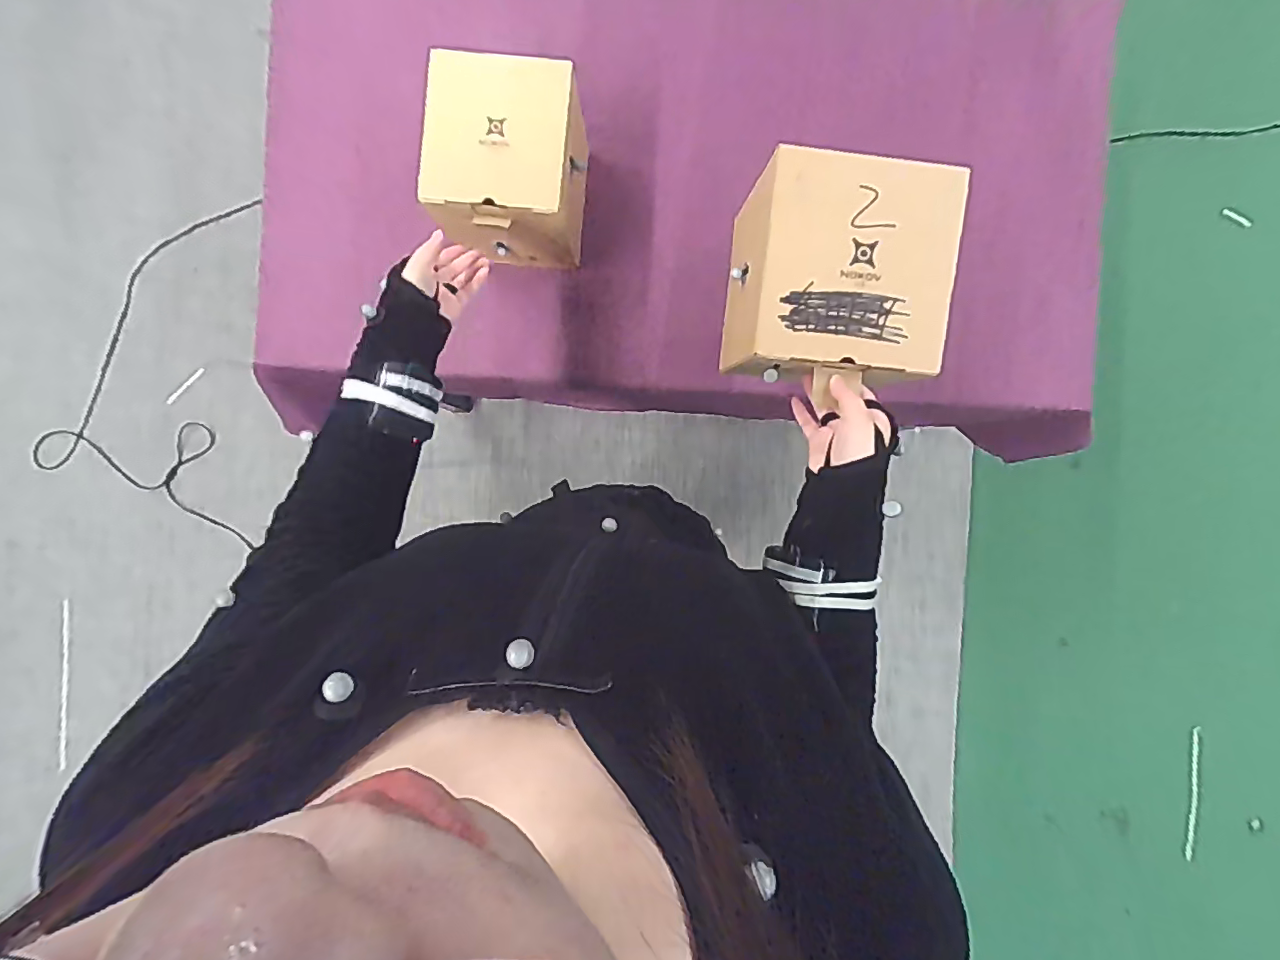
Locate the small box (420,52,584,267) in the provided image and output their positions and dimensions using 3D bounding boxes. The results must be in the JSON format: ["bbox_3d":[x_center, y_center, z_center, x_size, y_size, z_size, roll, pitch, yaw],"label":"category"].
[{"bbox_3d":[-0.168,-0.406,0.712,0.168,0.176,0.179,6,91,0],"label":"small box"}]
